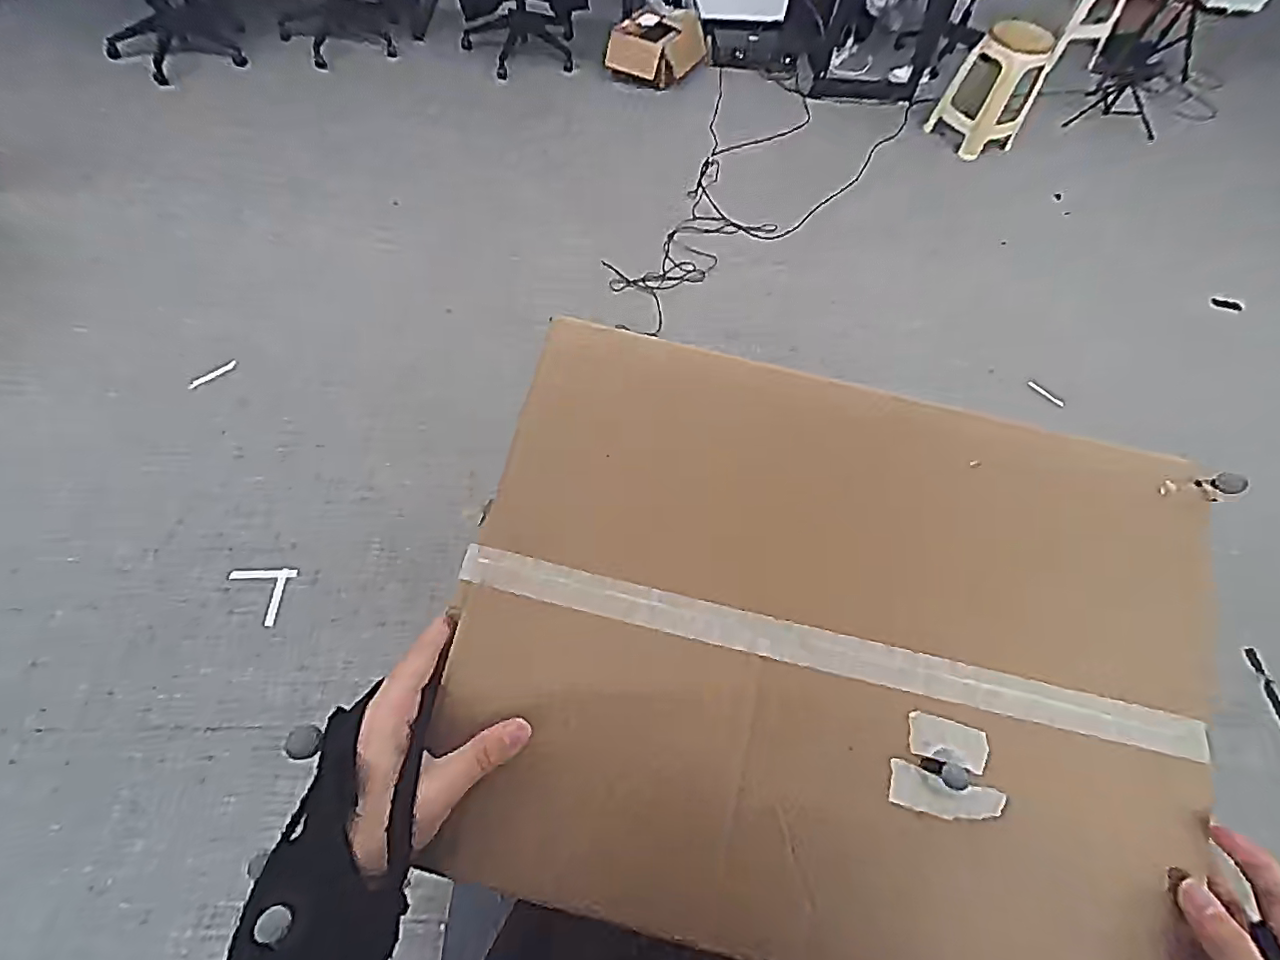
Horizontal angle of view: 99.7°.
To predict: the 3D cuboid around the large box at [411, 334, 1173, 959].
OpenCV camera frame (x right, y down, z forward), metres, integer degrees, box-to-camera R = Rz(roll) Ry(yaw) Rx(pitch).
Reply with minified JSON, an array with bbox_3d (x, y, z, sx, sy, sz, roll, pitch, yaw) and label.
[{"bbox_3d":[0.098,0.121,0.457,0.408,0.320,0.320,13,79,2],"label":"large box"}]
